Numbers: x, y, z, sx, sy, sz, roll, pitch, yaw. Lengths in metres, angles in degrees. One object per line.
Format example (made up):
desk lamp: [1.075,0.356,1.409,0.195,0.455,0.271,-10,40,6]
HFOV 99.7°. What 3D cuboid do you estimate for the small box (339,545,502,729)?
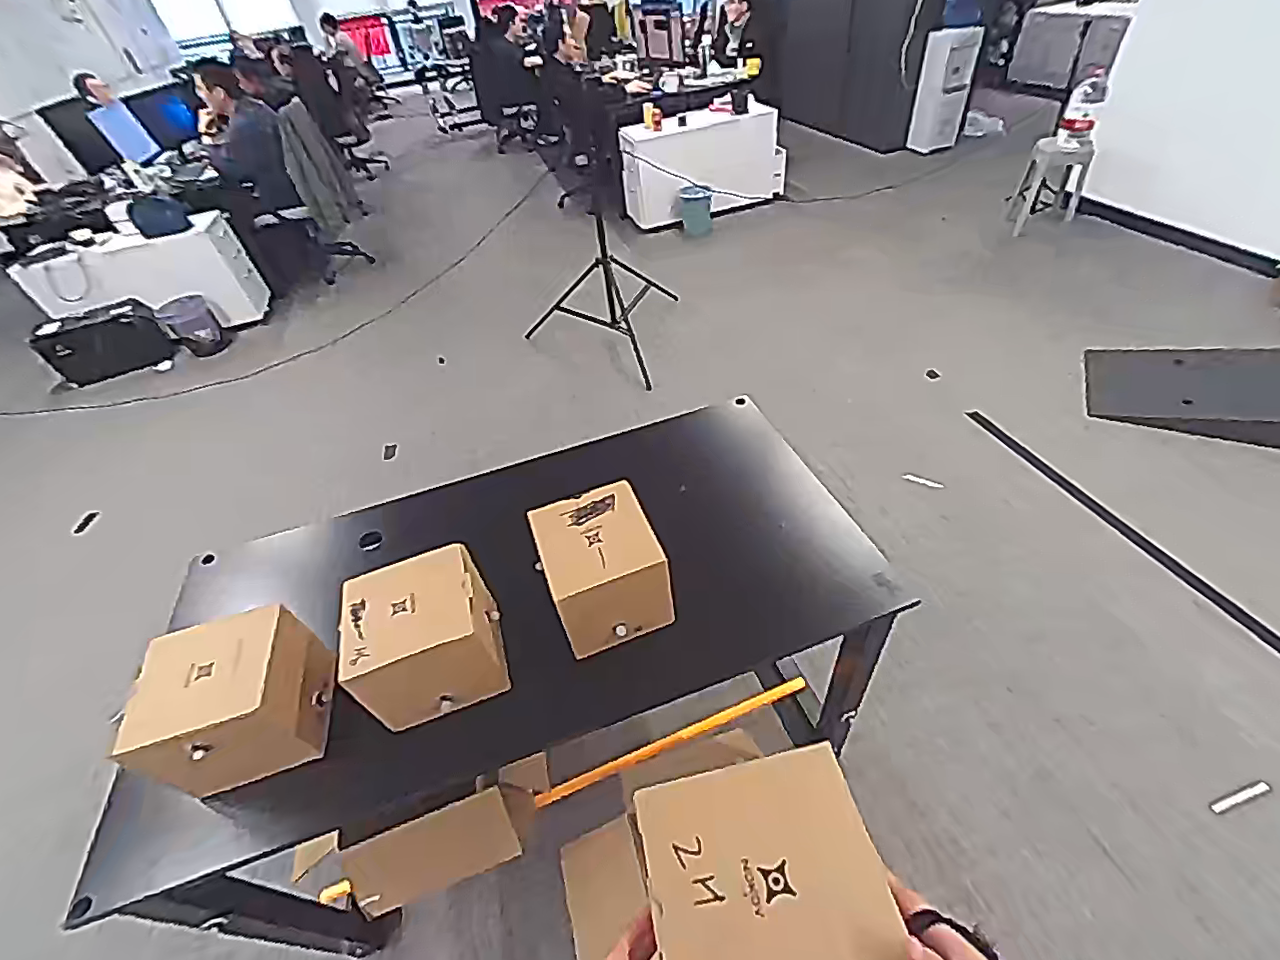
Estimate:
small box: [-0.310,0.229,0.790,0.179,0.176,0.168,-18,45,-11]

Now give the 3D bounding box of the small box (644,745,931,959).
small box: [0.109,0.352,0.458,0.179,0.176,0.168,-13,46,-2]

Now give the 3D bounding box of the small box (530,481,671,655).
small box: [-0.060,0.137,0.843,0.168,0.176,0.179,-19,46,-10]

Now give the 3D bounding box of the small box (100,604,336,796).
small box: [-0.559,0.307,0.749,0.179,0.176,0.168,-16,45,-8]
